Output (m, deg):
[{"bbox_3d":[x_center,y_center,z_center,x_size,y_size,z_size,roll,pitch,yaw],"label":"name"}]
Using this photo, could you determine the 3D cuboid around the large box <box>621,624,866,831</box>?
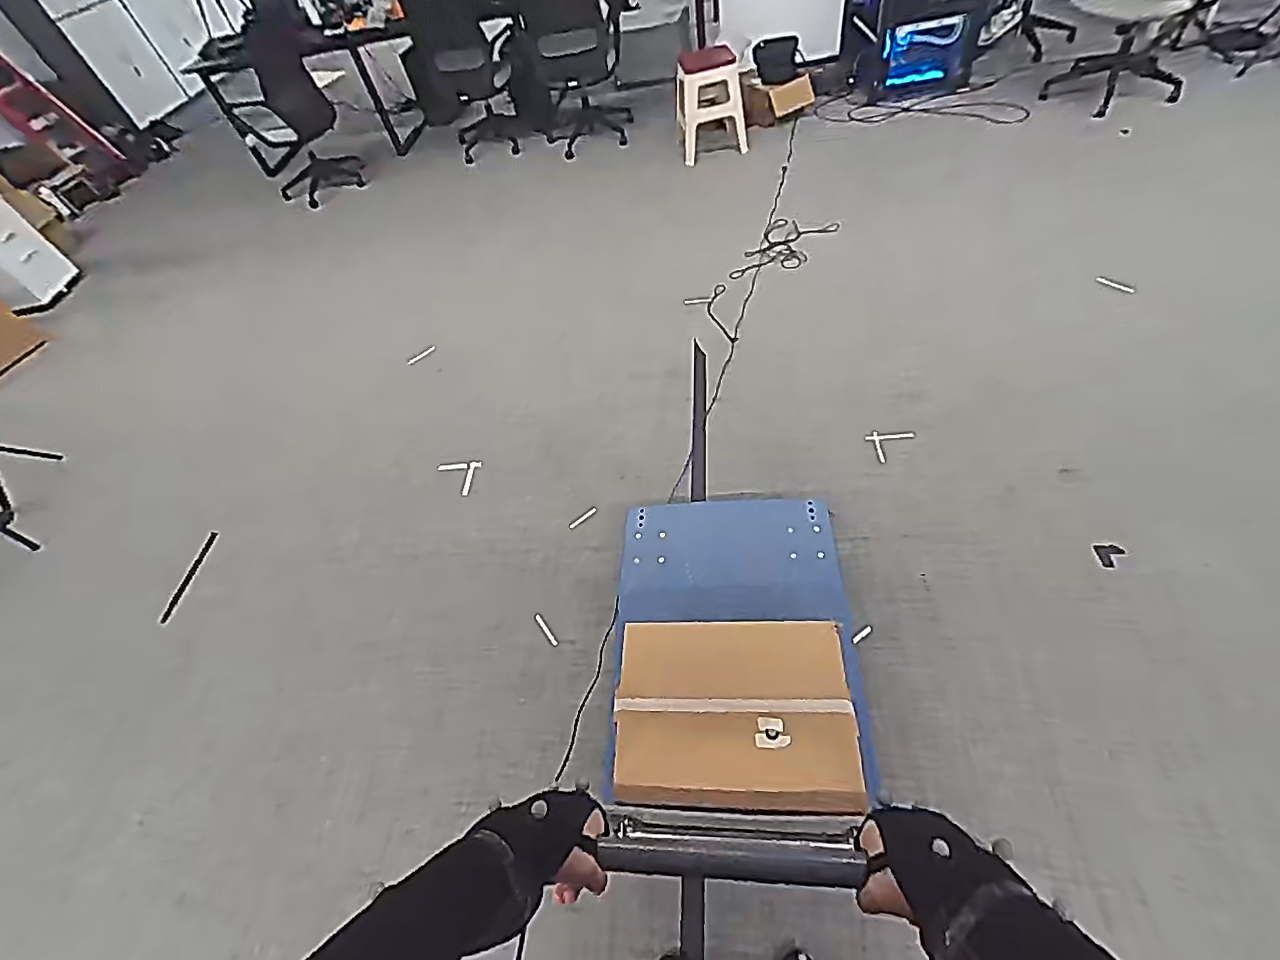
[{"bbox_3d":[0.187,0.499,1.080,0.408,0.320,0.320,-3,52,8],"label":"large box"}]
